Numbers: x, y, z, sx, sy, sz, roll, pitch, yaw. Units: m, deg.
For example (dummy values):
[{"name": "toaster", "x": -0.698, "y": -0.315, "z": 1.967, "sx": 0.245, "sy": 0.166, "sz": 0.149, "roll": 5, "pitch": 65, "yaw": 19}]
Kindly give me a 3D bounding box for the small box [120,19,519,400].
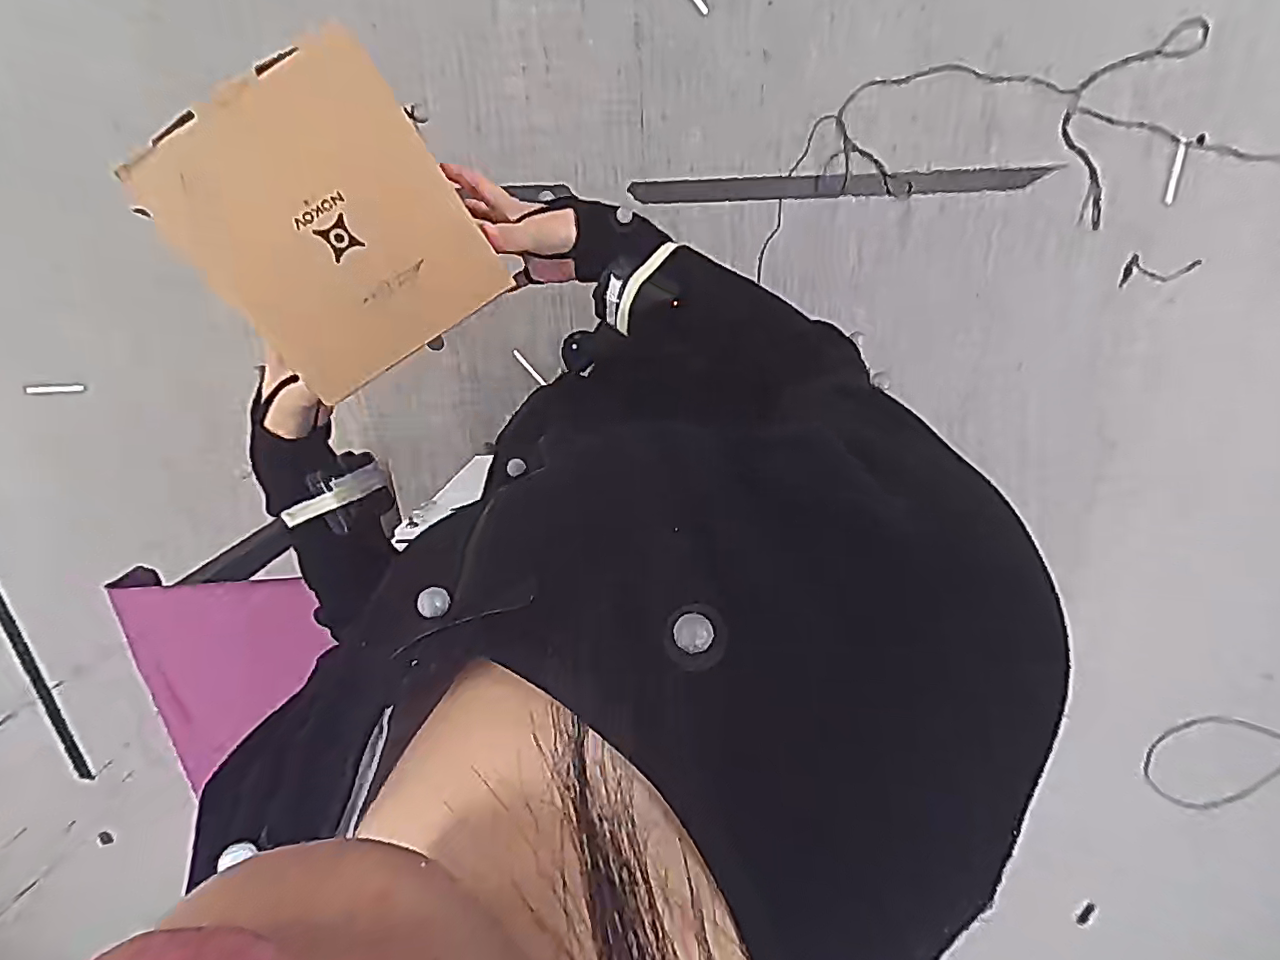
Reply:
[{"name": "small box", "x": -0.215, "y": -0.191, "z": 0.423, "sx": 0.168, "sy": 0.176, "sz": 0.179, "roll": -32, "pitch": 117, "yaw": 0}]
